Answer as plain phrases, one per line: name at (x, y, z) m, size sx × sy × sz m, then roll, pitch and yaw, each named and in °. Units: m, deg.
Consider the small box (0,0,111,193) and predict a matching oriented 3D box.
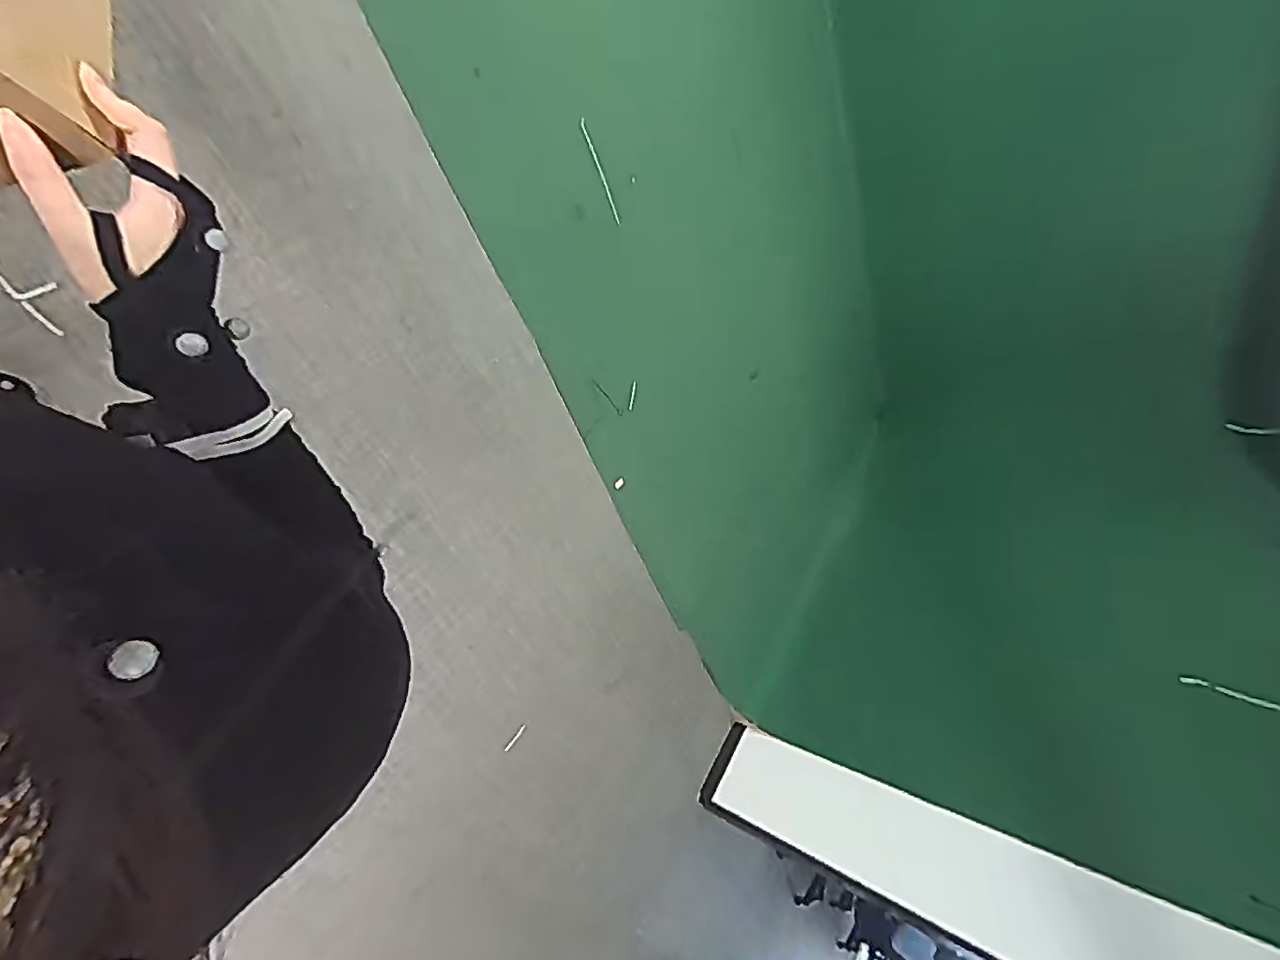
small box at (-0.410, -0.261, 0.253) m, size 0.179 × 0.168 × 0.176 m, roll 42°, pitch 35°, yaw -77°
